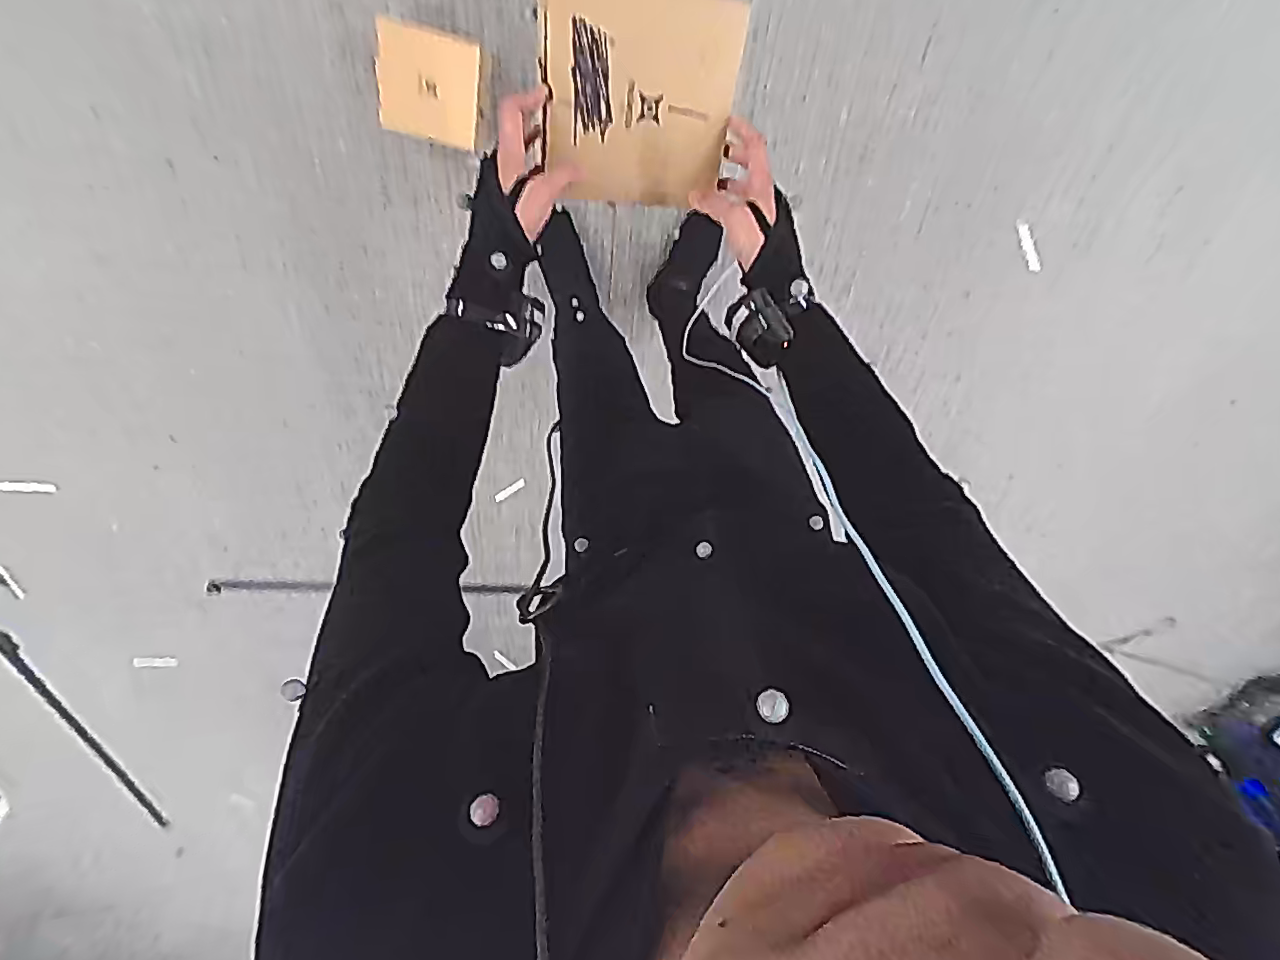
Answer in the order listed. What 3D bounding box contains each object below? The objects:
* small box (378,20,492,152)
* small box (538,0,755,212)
[{"bbox_3d":[-0.392,-0.762,1.054,0.179,0.176,0.168,9,124,-11],"label":"small box"},{"bbox_3d":[-0.012,-0.389,0.547,0.179,0.176,0.168,-1,131,-13],"label":"small box"}]
